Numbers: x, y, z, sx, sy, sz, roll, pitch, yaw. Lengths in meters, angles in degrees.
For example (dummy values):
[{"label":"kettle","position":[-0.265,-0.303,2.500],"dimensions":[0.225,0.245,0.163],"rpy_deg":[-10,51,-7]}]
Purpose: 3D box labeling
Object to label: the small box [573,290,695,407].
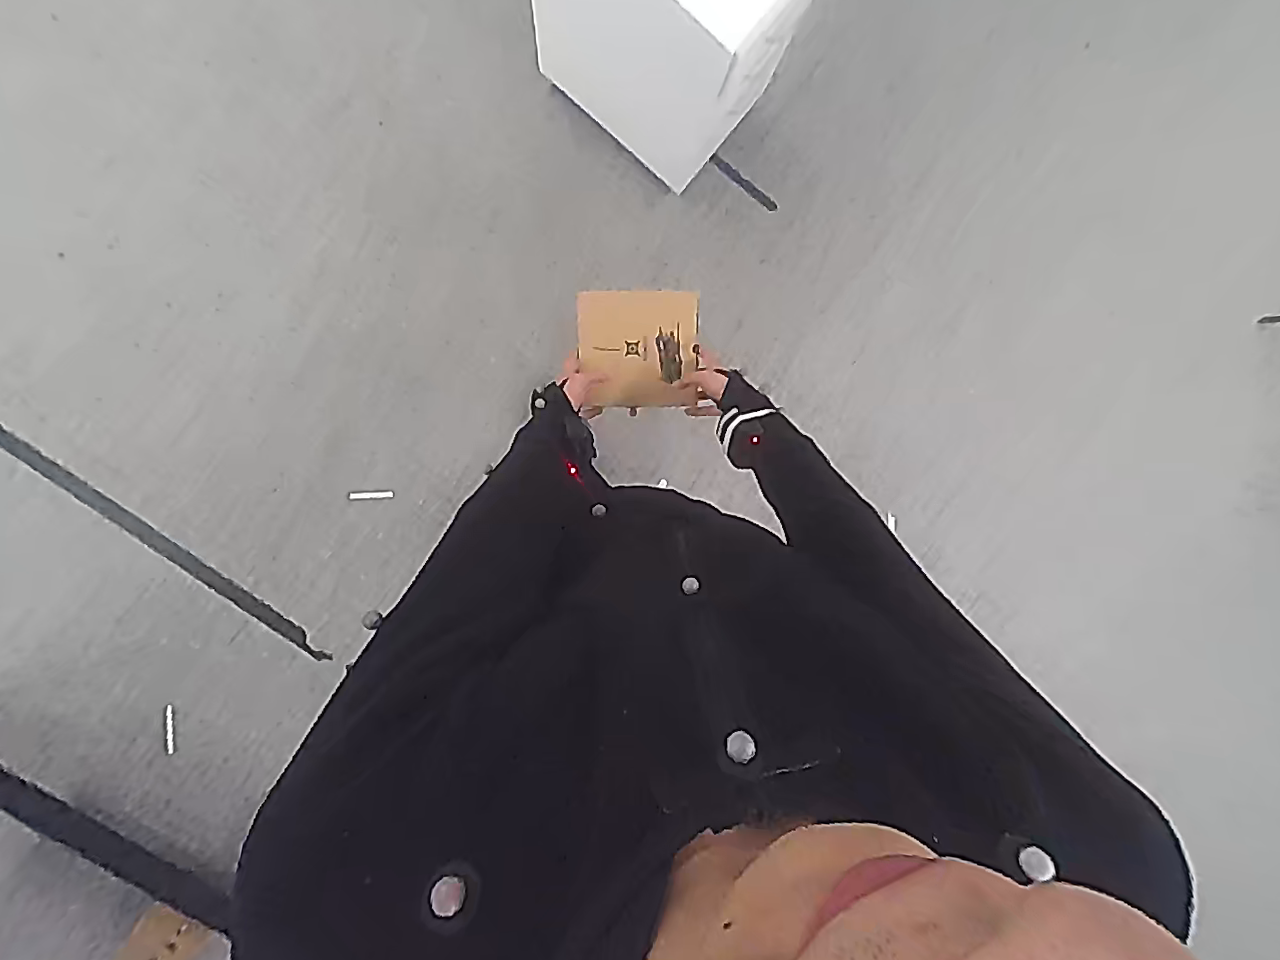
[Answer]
[{"label":"small box","position":[-0.009,-0.201,0.857],"dimensions":[0.179,0.176,0.168],"rpy_deg":[0,98,1]}]
